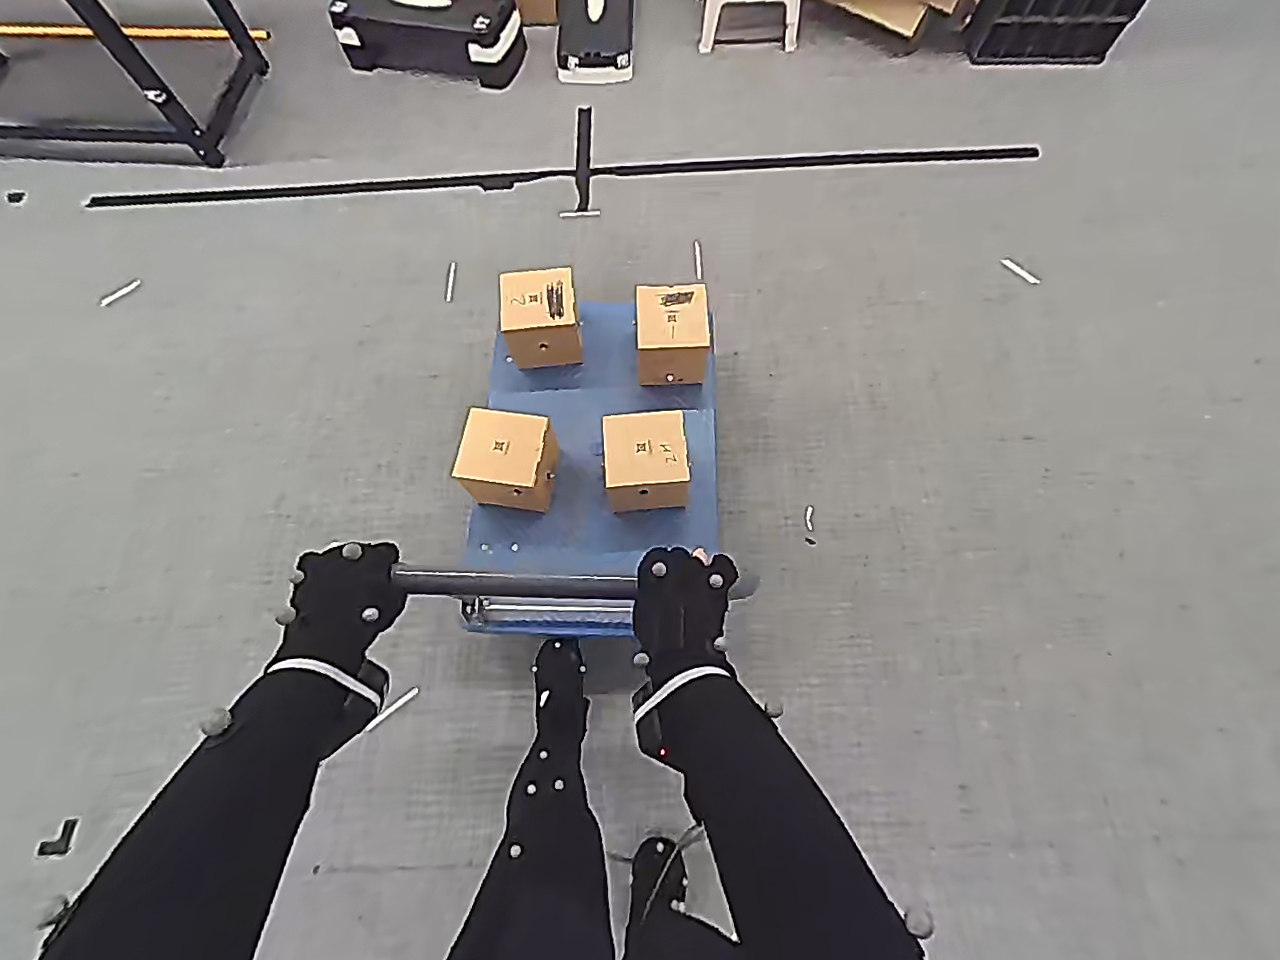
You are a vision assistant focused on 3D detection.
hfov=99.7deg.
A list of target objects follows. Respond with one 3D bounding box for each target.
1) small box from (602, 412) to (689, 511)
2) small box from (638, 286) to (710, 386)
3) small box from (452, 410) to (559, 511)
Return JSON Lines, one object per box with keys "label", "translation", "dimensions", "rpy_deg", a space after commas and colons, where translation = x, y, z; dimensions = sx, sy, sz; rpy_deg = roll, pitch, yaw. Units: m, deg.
{"label": "small box", "translation": [0.013, -0.034, 1.200], "dimensions": [0.179, 0.176, 0.168], "rpy_deg": [-4, 70, 0]}
{"label": "small box", "translation": [0.077, -0.347, 1.315], "dimensions": [0.168, 0.176, 0.179], "rpy_deg": [-2, 70, 1]}
{"label": "small box", "translation": [-0.291, -0.038, 1.210], "dimensions": [0.179, 0.176, 0.168], "rpy_deg": [7, 70, 3]}
